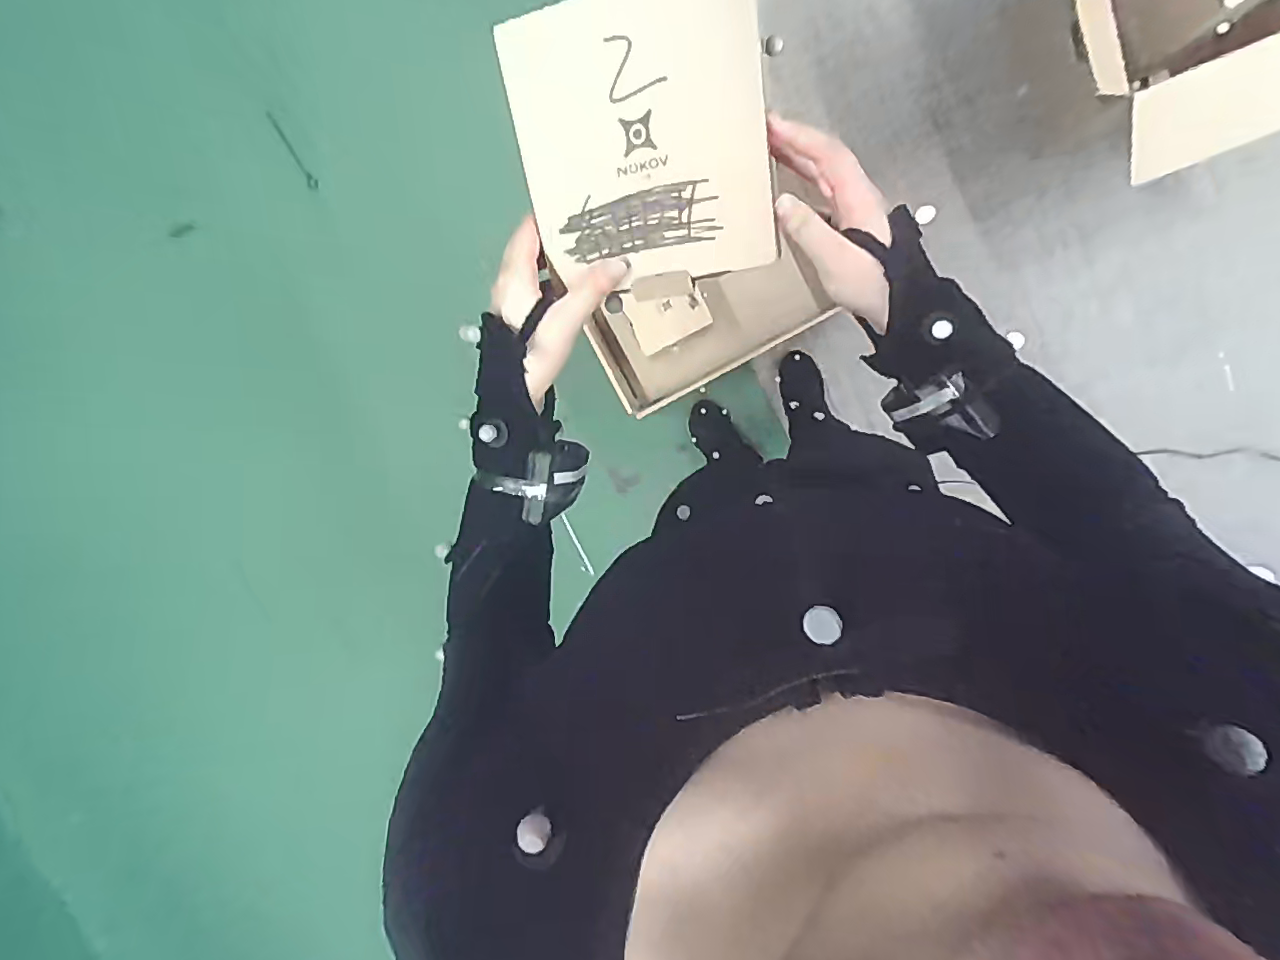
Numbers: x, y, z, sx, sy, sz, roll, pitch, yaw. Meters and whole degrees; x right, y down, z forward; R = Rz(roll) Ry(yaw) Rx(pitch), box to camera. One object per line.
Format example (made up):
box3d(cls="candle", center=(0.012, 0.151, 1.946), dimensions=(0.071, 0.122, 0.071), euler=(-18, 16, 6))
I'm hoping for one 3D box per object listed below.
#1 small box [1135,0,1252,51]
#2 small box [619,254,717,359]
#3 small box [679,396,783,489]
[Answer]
box3d(cls="small box", center=(1.009, -0.914, 0.939), dimensions=(0.168, 0.176, 0.179), euler=(-27, 95, 14))
box3d(cls="small box", center=(0.073, -0.400, 1.287), dimensions=(0.179, 0.176, 0.168), euler=(-26, 94, 10))
box3d(cls="small box", center=(0.231, -0.089, 1.351), dimensions=(0.176, 0.168, 0.179), euler=(23, 79, -27))
